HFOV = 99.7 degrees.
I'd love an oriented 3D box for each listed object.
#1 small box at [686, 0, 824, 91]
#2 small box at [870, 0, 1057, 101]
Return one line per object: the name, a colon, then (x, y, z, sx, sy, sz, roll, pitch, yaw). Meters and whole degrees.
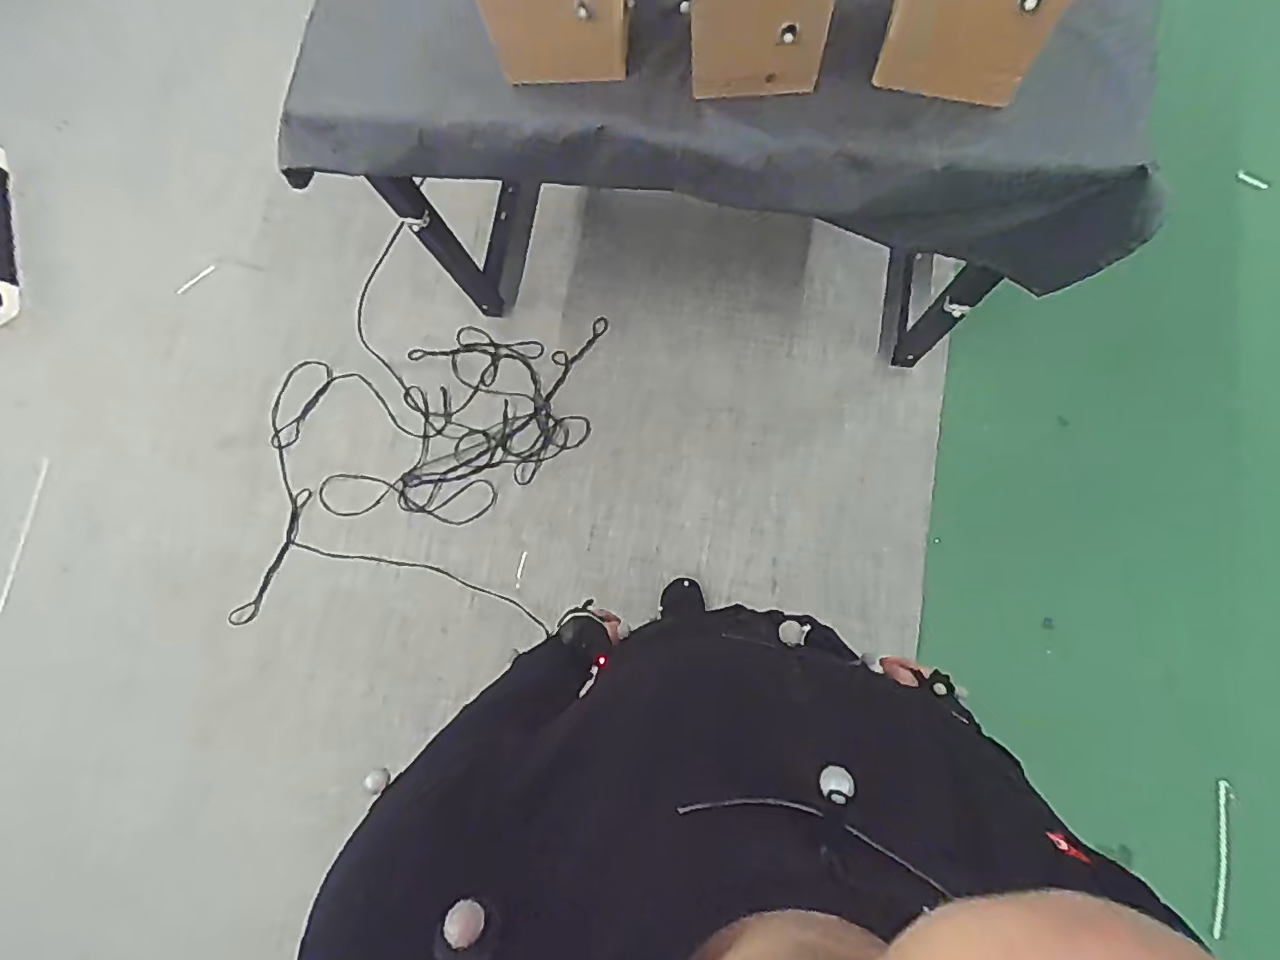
small box: (0.143, -0.630, 0.685, 0.168, 0.176, 0.179, 1, 79, 5)
small box: (0.400, -0.602, 0.651, 0.179, 0.176, 0.168, 16, 82, 9)
